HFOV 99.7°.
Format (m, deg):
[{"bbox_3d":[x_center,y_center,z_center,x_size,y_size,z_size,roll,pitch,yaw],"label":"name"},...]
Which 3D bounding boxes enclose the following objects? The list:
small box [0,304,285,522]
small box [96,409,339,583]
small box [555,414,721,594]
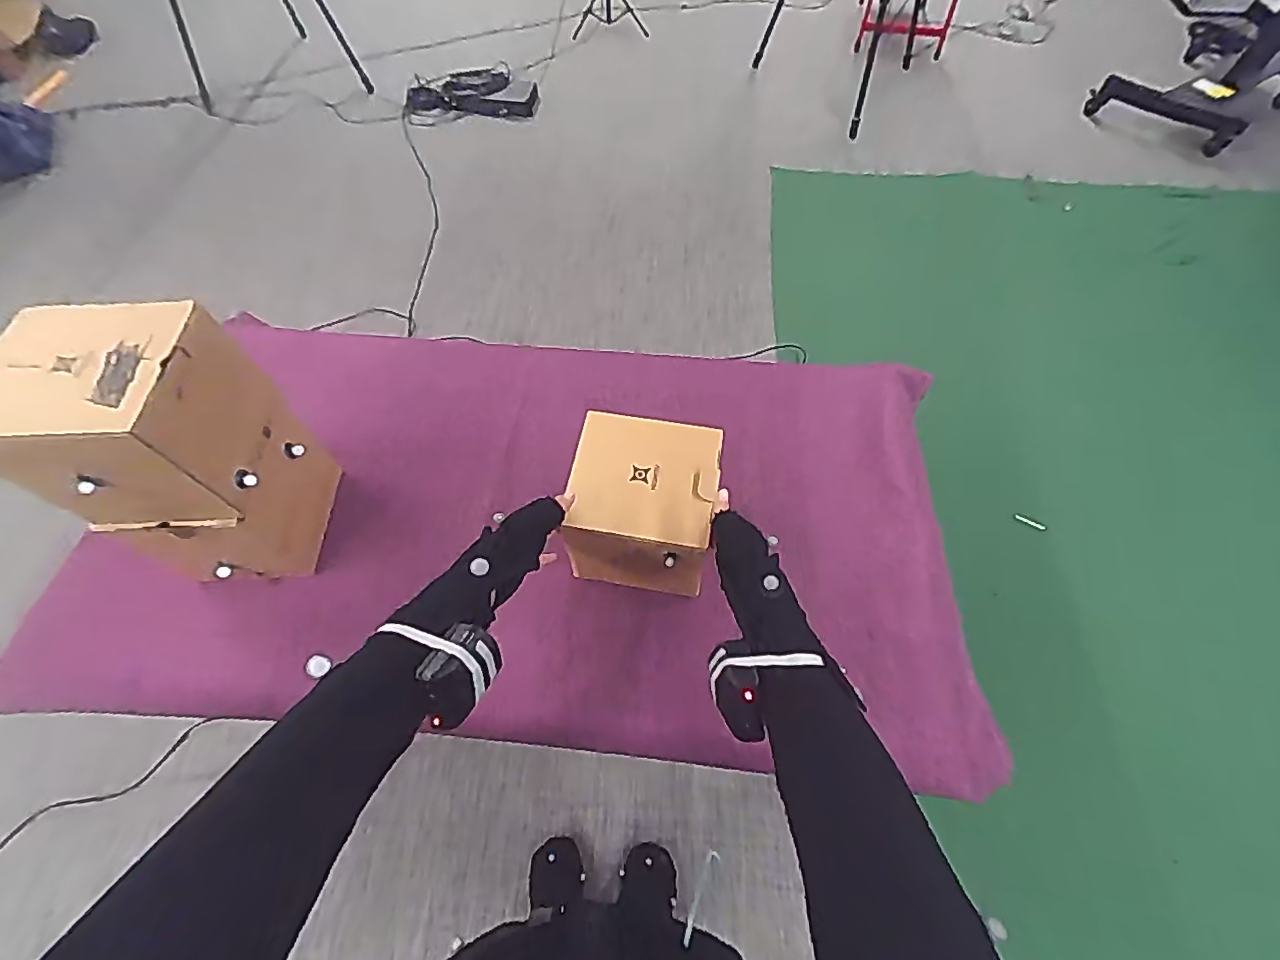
[{"bbox_3d":[-0.528,-0.065,0.578,0.179,0.176,0.168,0,57,0],"label":"small box"},{"bbox_3d":[-0.534,0.024,0.720,0.168,0.176,0.179,-2,59,0],"label":"small box"},{"bbox_3d":[0.002,0.038,0.709,0.179,0.176,0.168,8,60,5],"label":"small box"}]
